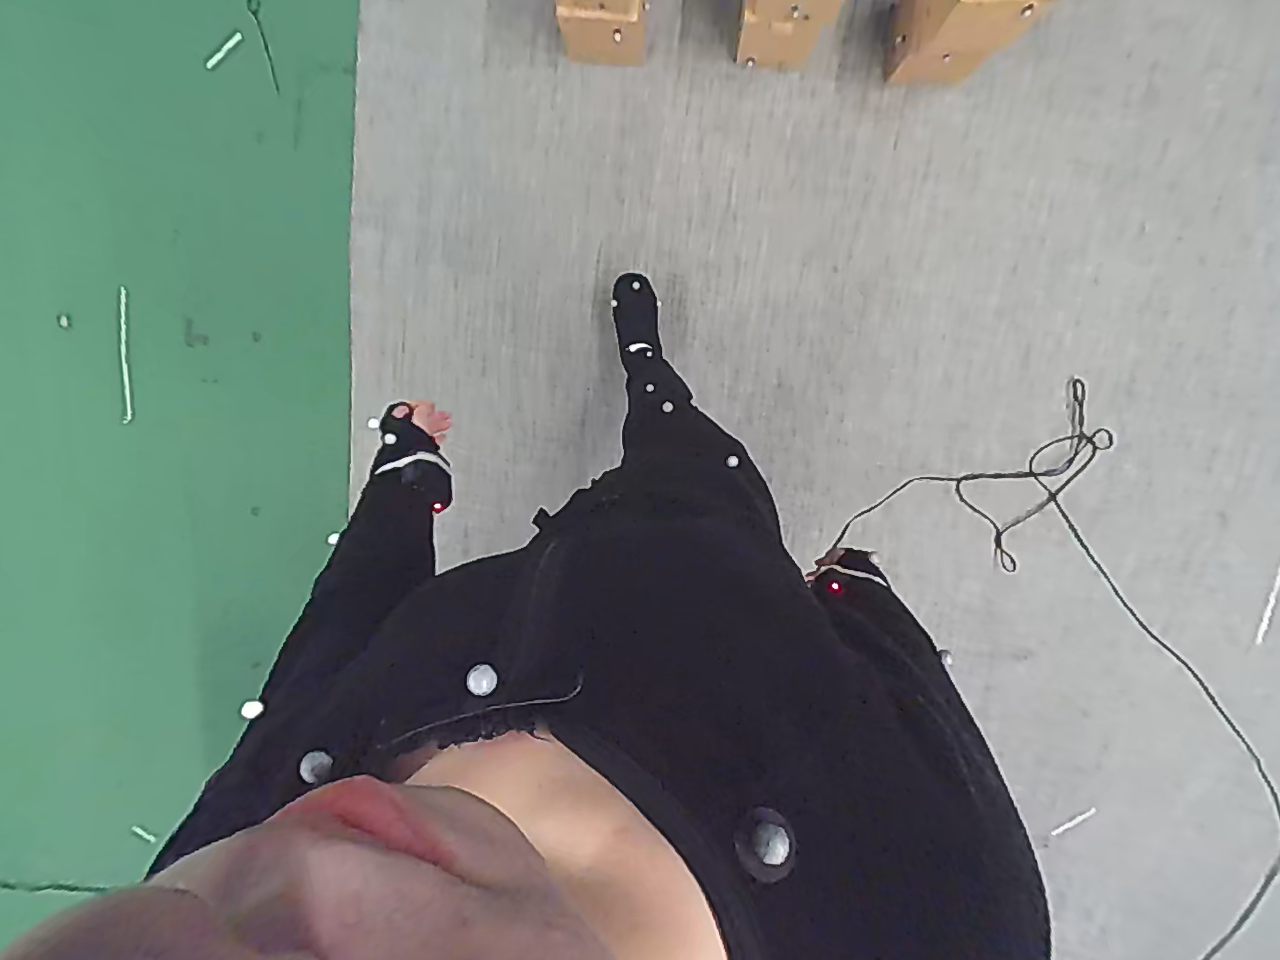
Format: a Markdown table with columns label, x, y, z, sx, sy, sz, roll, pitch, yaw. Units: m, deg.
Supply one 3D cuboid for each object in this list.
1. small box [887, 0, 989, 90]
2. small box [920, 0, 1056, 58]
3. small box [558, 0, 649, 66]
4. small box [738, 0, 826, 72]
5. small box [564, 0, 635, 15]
| label | x | y | z | sx | sy | sz | roll | pitch | yaw |
| --- | --- | --- | --- | --- | --- | --- | --- | --- | --- |
| small box | 0.662 | -0.979 | 1.172 | 0.179 | 0.176 | 0.168 | 5 | 102 | 3 |
| small box | 0.652 | -0.933 | 1.016 | 0.179 | 0.176 | 0.168 | 0 | 101 | 4 |
| small box | -0.075 | -1.064 | 1.207 | 0.179 | 0.176 | 0.168 | 7 | 100 | 3 |
| small box | 0.312 | -1.037 | 1.185 | 0.168 | 0.176 | 0.179 | 7 | 101 | 2 |
| small box | -0.086 | -1.052 | 1.043 | 0.168 | 0.176 | 0.179 | 11 | 102 | 1 |
